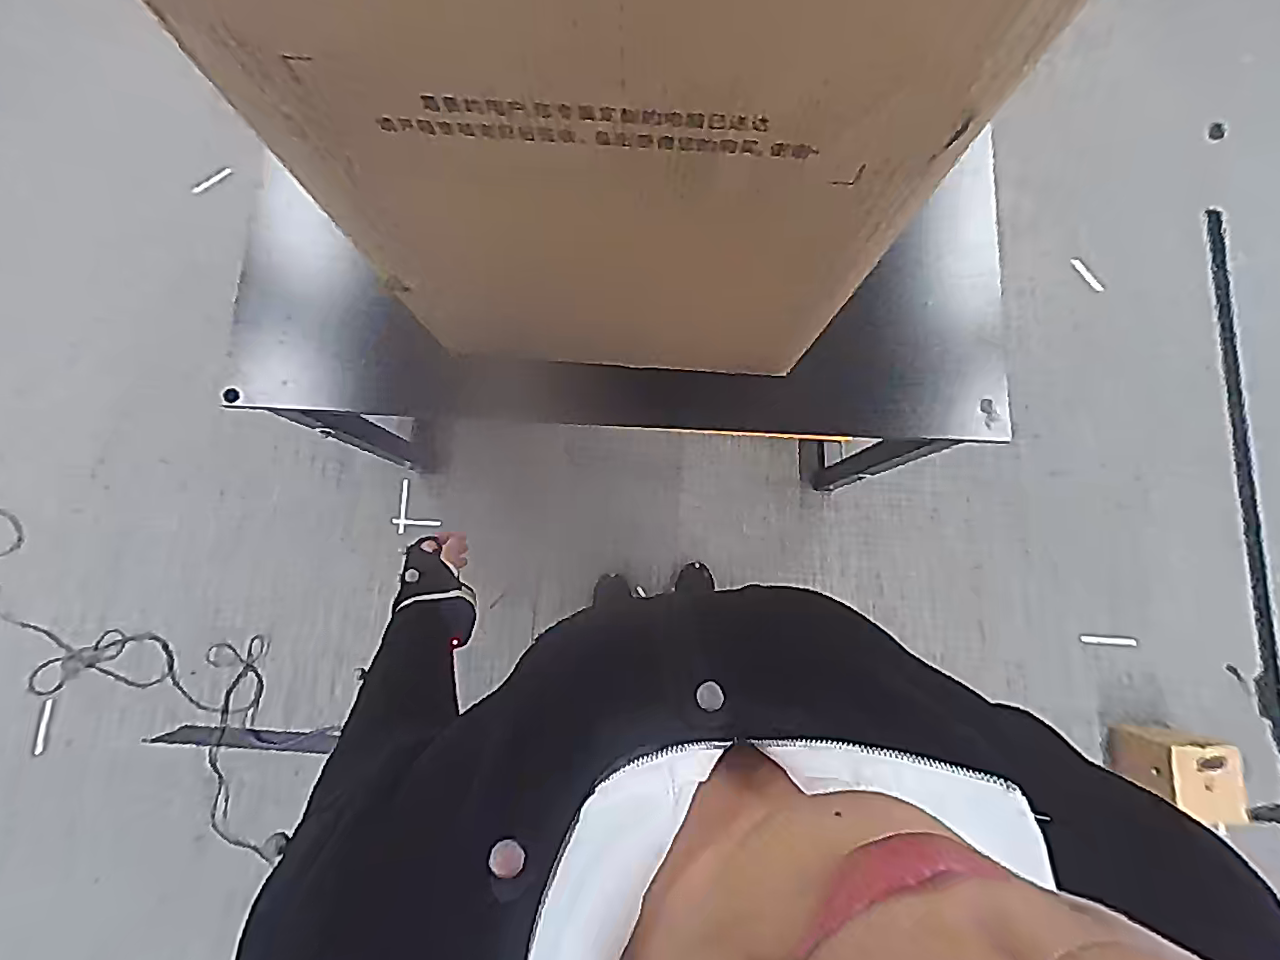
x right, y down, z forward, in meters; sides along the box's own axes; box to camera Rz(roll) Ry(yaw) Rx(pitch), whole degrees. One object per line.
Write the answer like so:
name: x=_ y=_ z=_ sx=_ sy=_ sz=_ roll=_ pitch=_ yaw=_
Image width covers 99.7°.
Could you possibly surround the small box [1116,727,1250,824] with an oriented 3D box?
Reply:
small box: x=1.355 y=0.735 z=1.363 sx=0.168 sy=0.176 sz=0.179 roll=0 pitch=82 yaw=0
